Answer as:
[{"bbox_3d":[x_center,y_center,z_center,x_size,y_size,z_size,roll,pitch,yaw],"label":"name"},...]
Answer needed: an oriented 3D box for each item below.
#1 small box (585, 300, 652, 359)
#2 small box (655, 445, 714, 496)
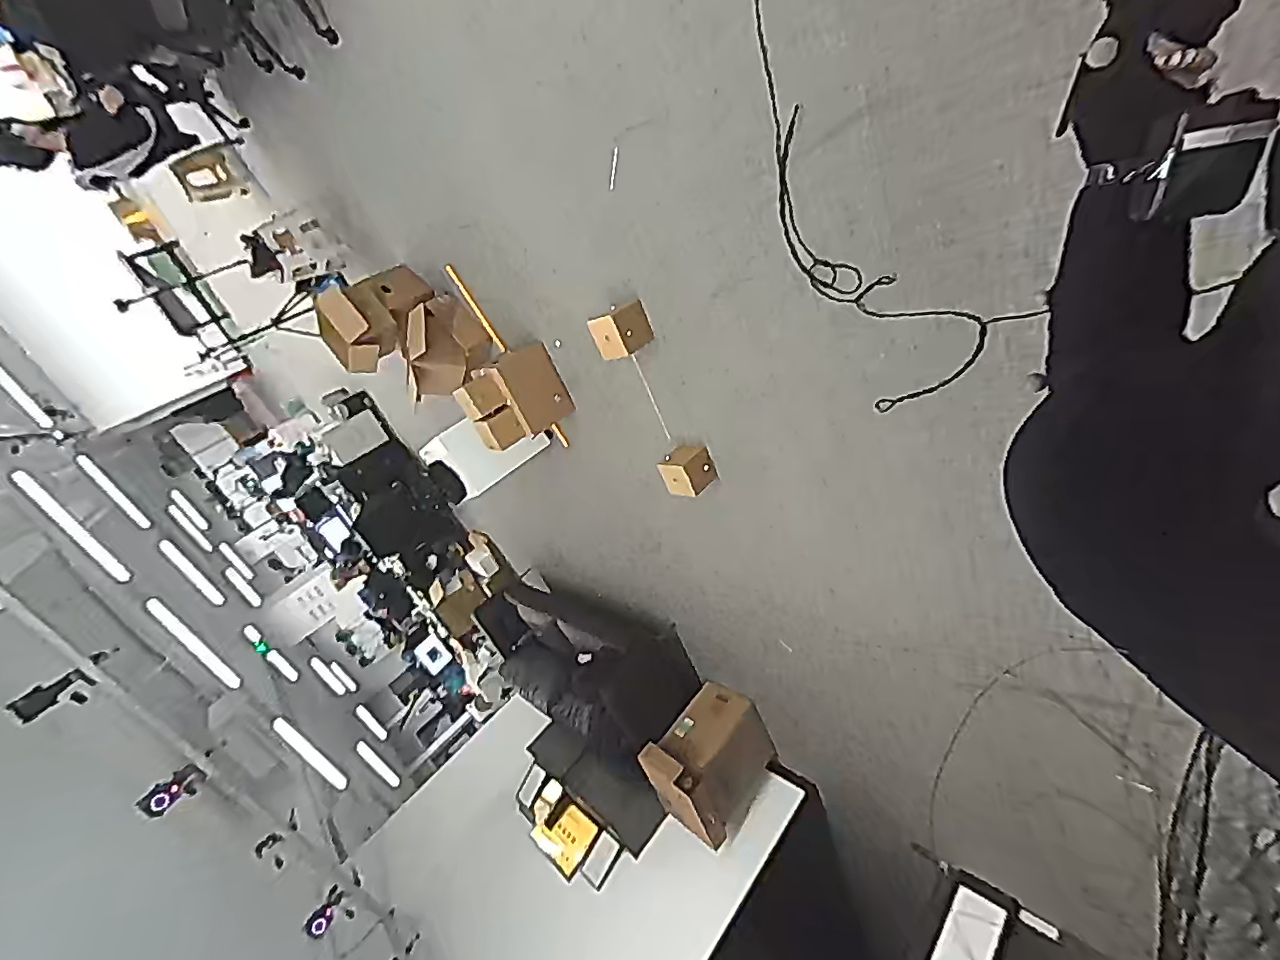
[{"bbox_3d":[-0.083,-0.613,2.191,0.168,0.176,0.179,5,129,50],"label":"small box"},{"bbox_3d":[0.204,-0.048,2.453,0.179,0.176,0.168,6,129,50],"label":"small box"}]
